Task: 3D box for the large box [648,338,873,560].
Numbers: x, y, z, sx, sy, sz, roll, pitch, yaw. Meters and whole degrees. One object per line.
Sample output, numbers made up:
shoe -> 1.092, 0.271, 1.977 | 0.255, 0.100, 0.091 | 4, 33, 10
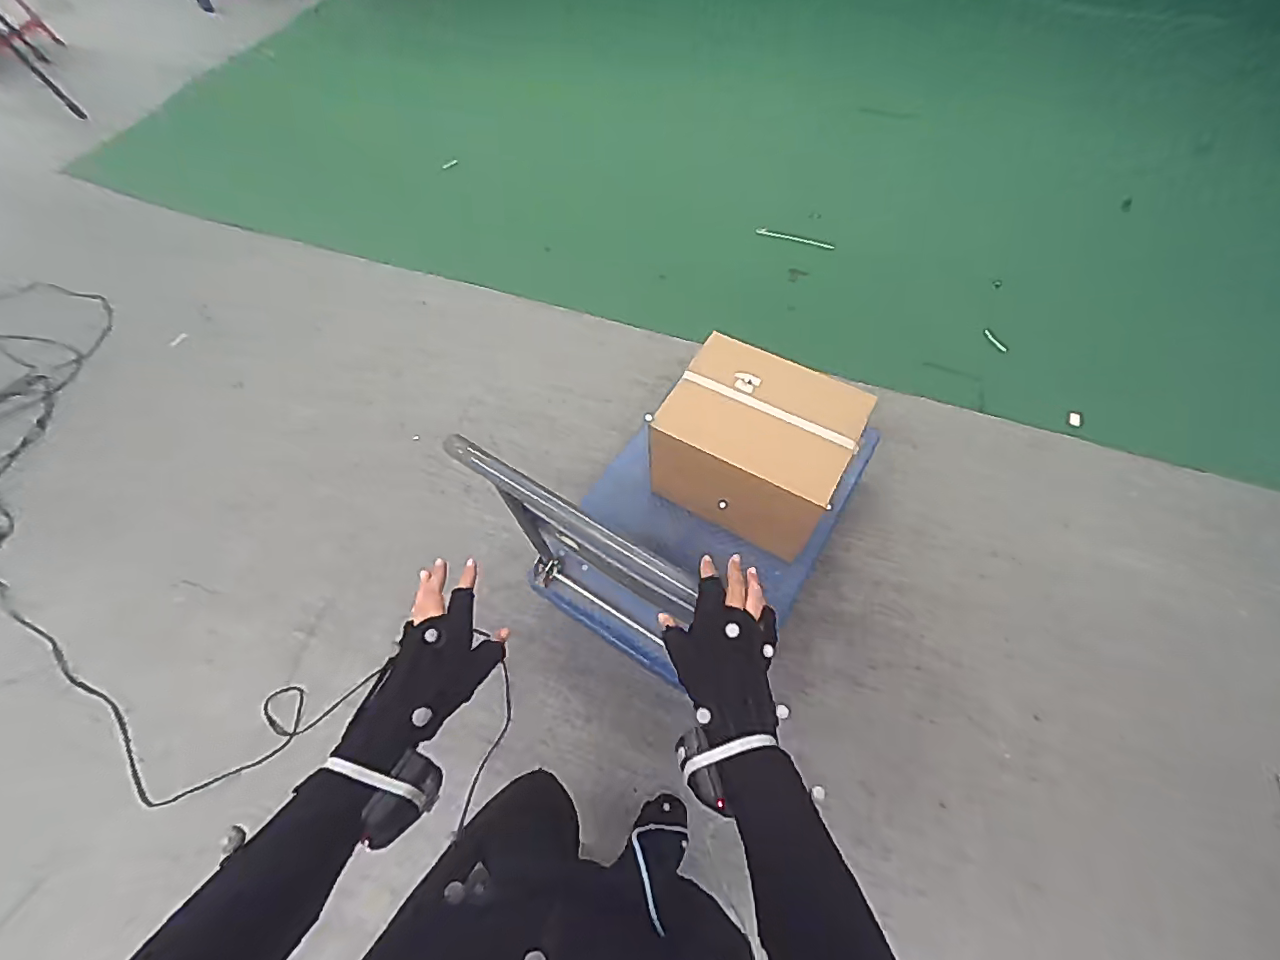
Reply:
large box -> 0.273, -0.068, 1.298 | 0.408, 0.320, 0.320 | 27, 64, 18
